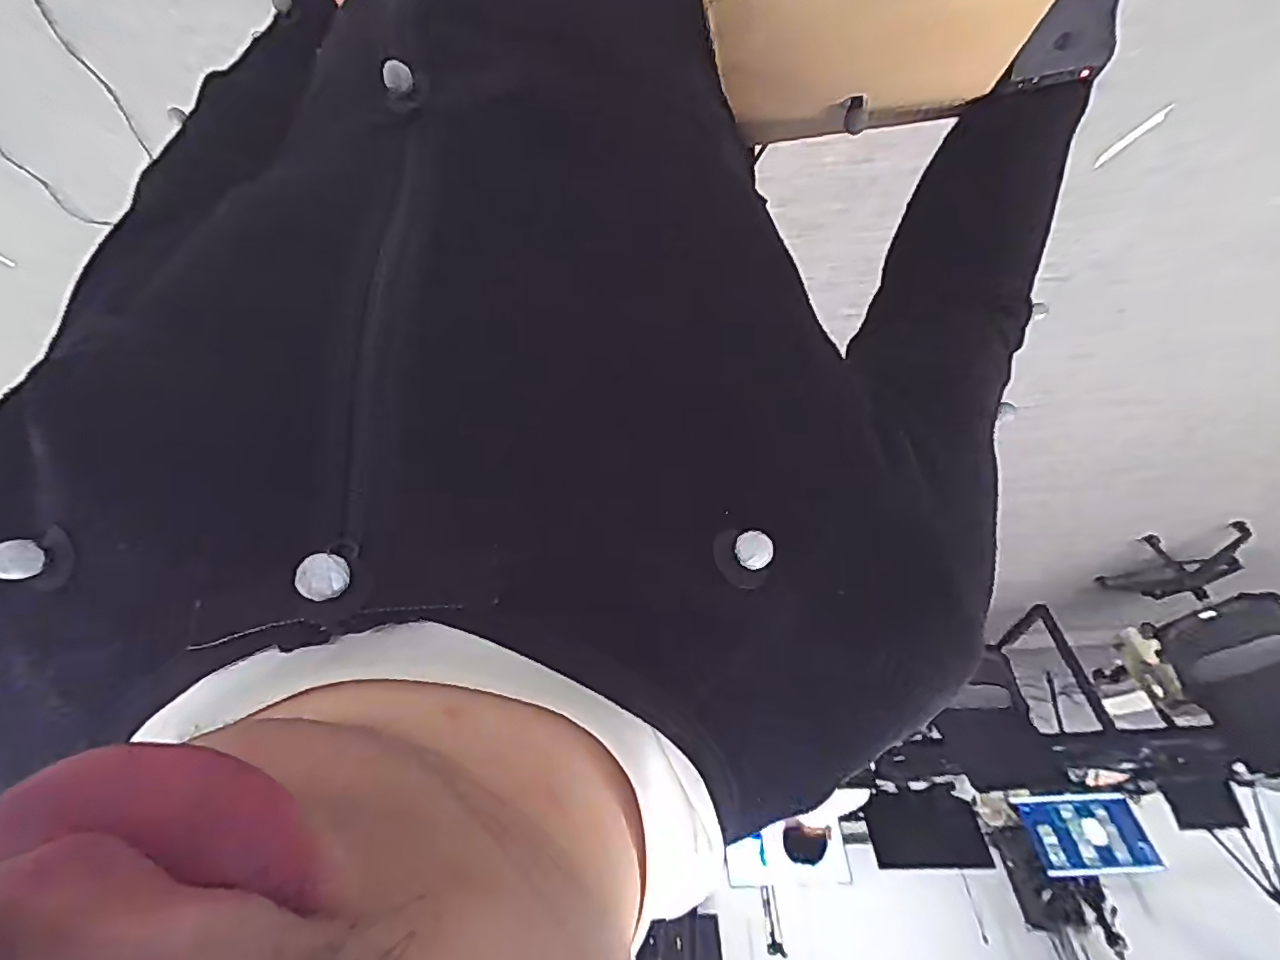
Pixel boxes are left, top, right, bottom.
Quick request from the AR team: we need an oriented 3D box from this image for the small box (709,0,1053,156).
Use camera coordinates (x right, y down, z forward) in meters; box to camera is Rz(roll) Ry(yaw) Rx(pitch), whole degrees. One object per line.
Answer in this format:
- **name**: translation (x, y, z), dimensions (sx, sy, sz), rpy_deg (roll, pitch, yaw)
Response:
- **small box**: translation (0.137, -0.332, 0.338), dimensions (0.179, 0.176, 0.168), rpy_deg (0, 98, 13)
